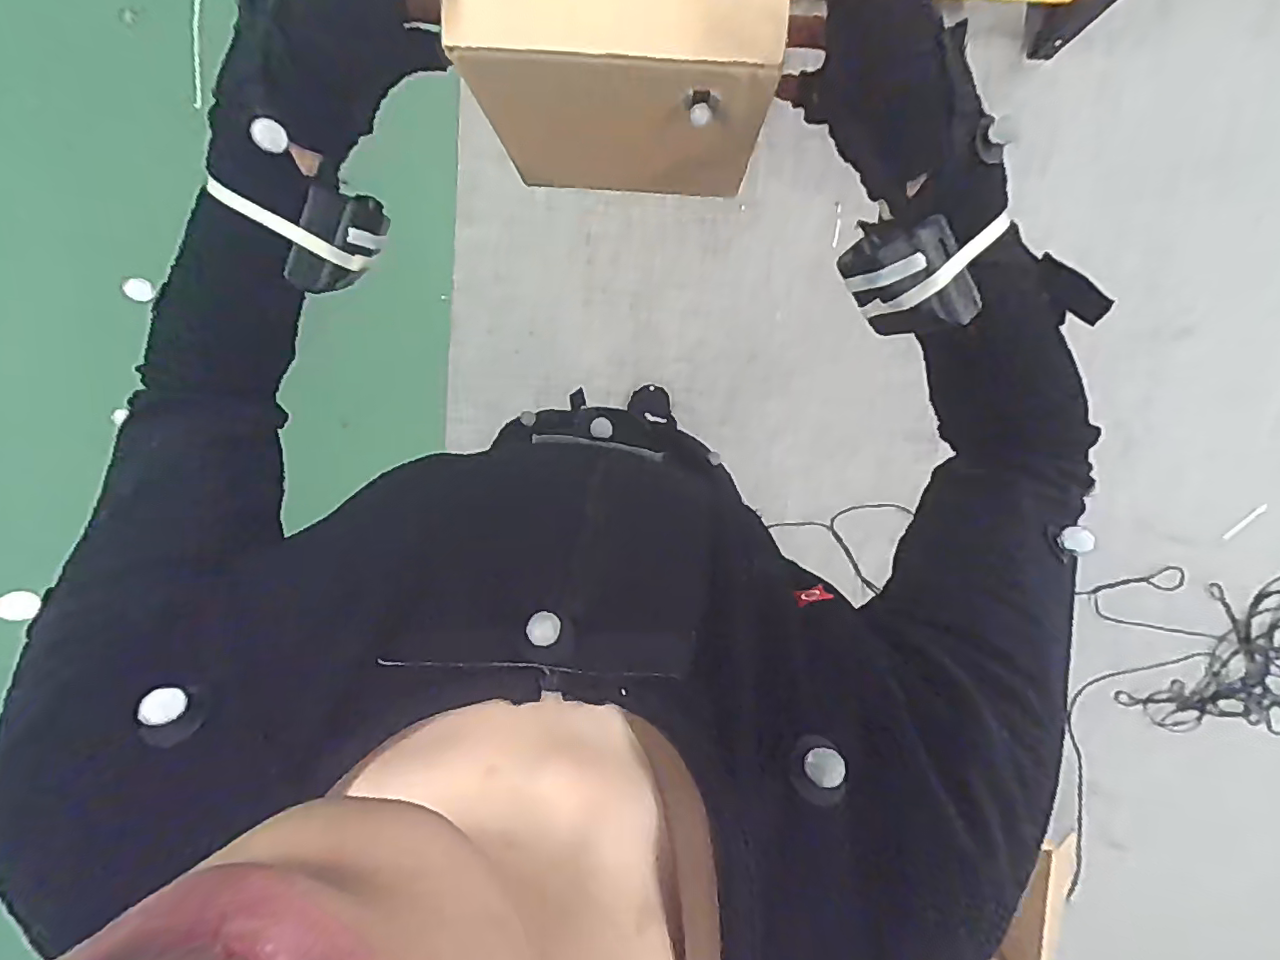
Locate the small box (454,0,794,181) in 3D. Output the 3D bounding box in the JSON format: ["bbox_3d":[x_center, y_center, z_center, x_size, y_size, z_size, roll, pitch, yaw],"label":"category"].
[{"bbox_3d":[-0.004,-0.314,0.347,0.179,0.176,0.168,3,97,-1],"label":"small box"}]
